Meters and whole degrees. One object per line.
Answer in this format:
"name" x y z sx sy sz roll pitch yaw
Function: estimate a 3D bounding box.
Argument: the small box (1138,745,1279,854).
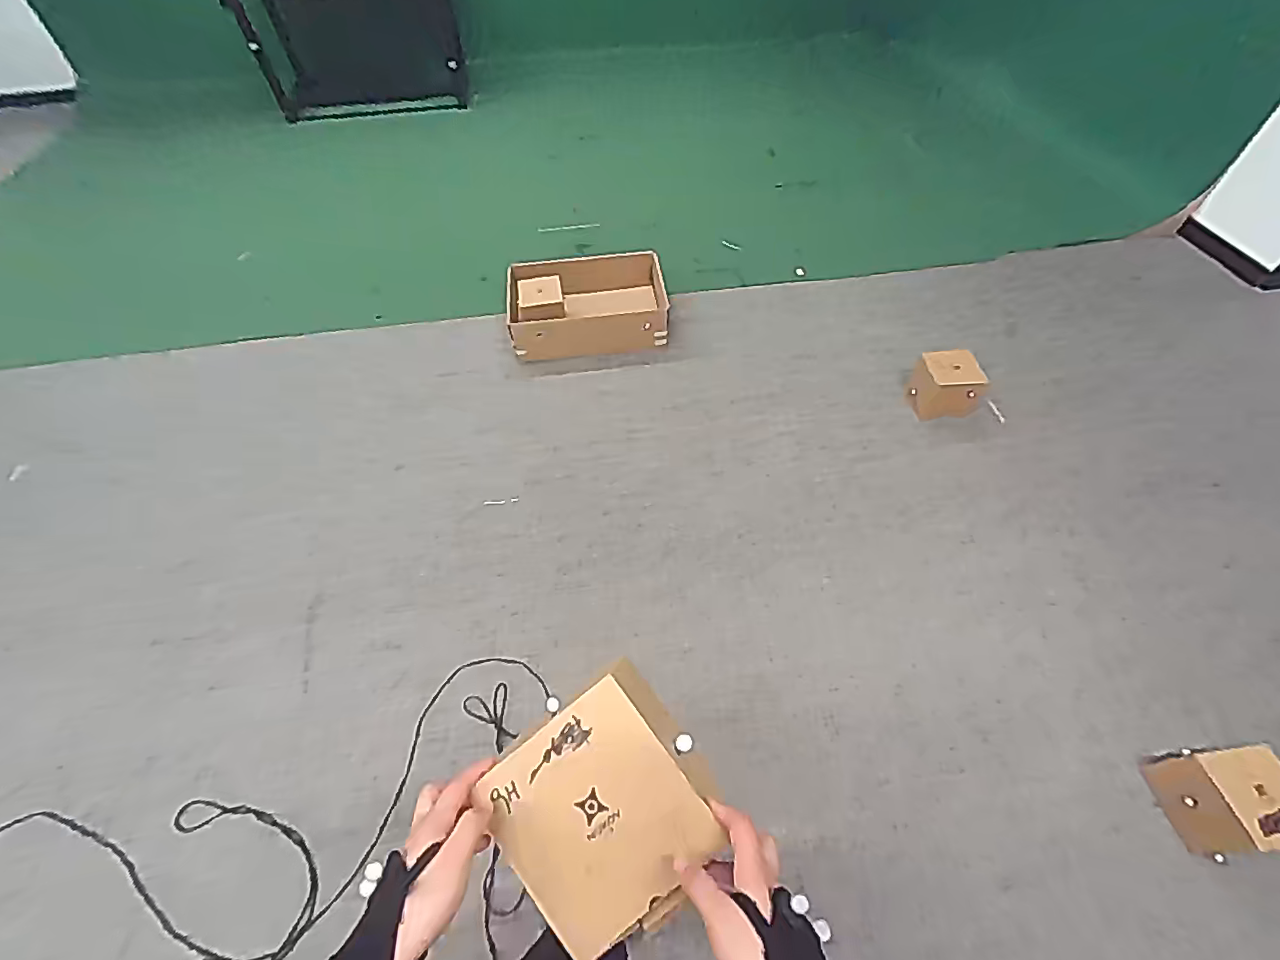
"small box" 1.250 0.688 1.159 0.168 0.176 0.179 -7 54 -3

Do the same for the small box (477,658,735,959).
"small box" -0.027 0.308 0.552 0.168 0.176 0.179 -38 80 -5

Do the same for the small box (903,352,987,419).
"small box" 1.062 -0.329 1.898 0.179 0.176 0.168 -3 54 0

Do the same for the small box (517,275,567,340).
"small box" -0.385 -0.679 2.134 0.168 0.176 0.179 -9 56 -5
